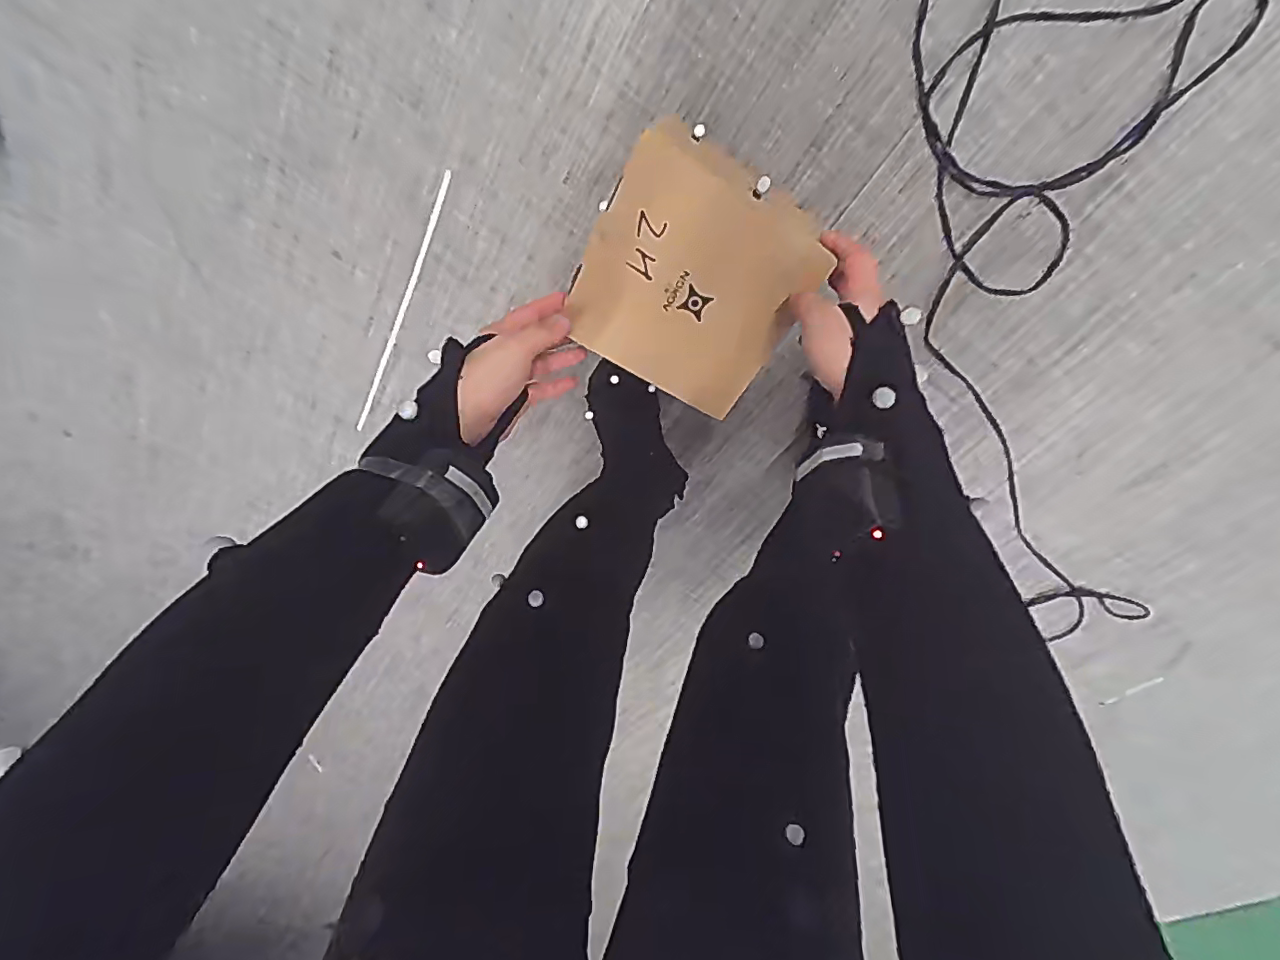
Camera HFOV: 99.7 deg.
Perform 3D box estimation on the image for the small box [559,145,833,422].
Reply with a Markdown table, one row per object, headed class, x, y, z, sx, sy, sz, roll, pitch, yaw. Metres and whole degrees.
| class | x | y | z | sx | sy | sz | roll | pitch | yaw |
| --- | --- | --- | --- | --- | --- | --- | --- | --- | --- |
| small box | 0.051 | -0.193 | 0.516 | 0.179 | 0.176 | 0.168 | 28 | 124 | -11 |
